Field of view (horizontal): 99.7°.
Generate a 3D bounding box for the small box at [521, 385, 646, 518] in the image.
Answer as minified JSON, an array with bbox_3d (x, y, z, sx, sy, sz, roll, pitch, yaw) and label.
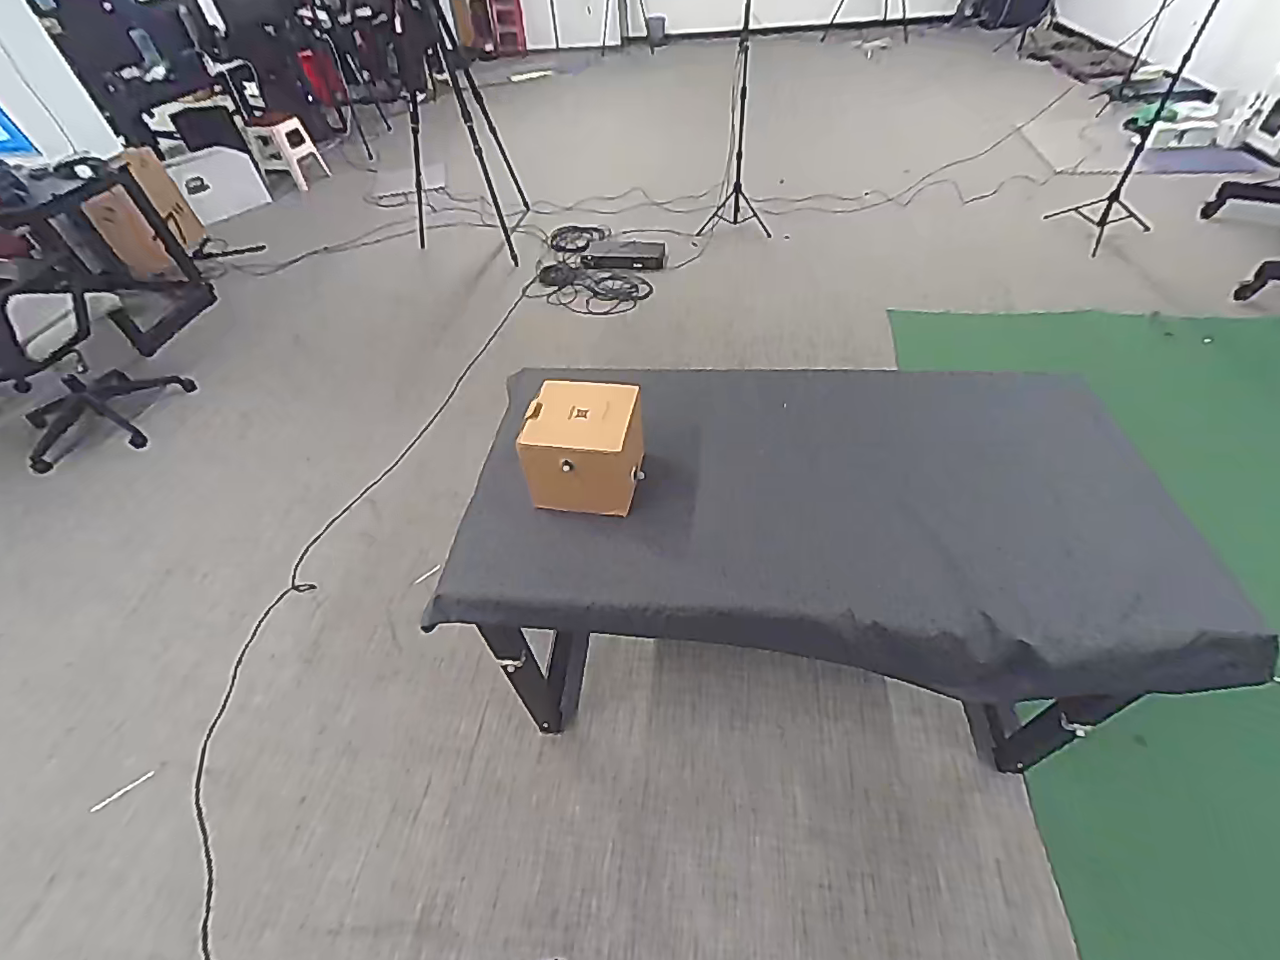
[{"bbox_3d":[-0.091,-0.049,0.967,0.179,0.176,0.168,6,49,8],"label":"small box"}]
